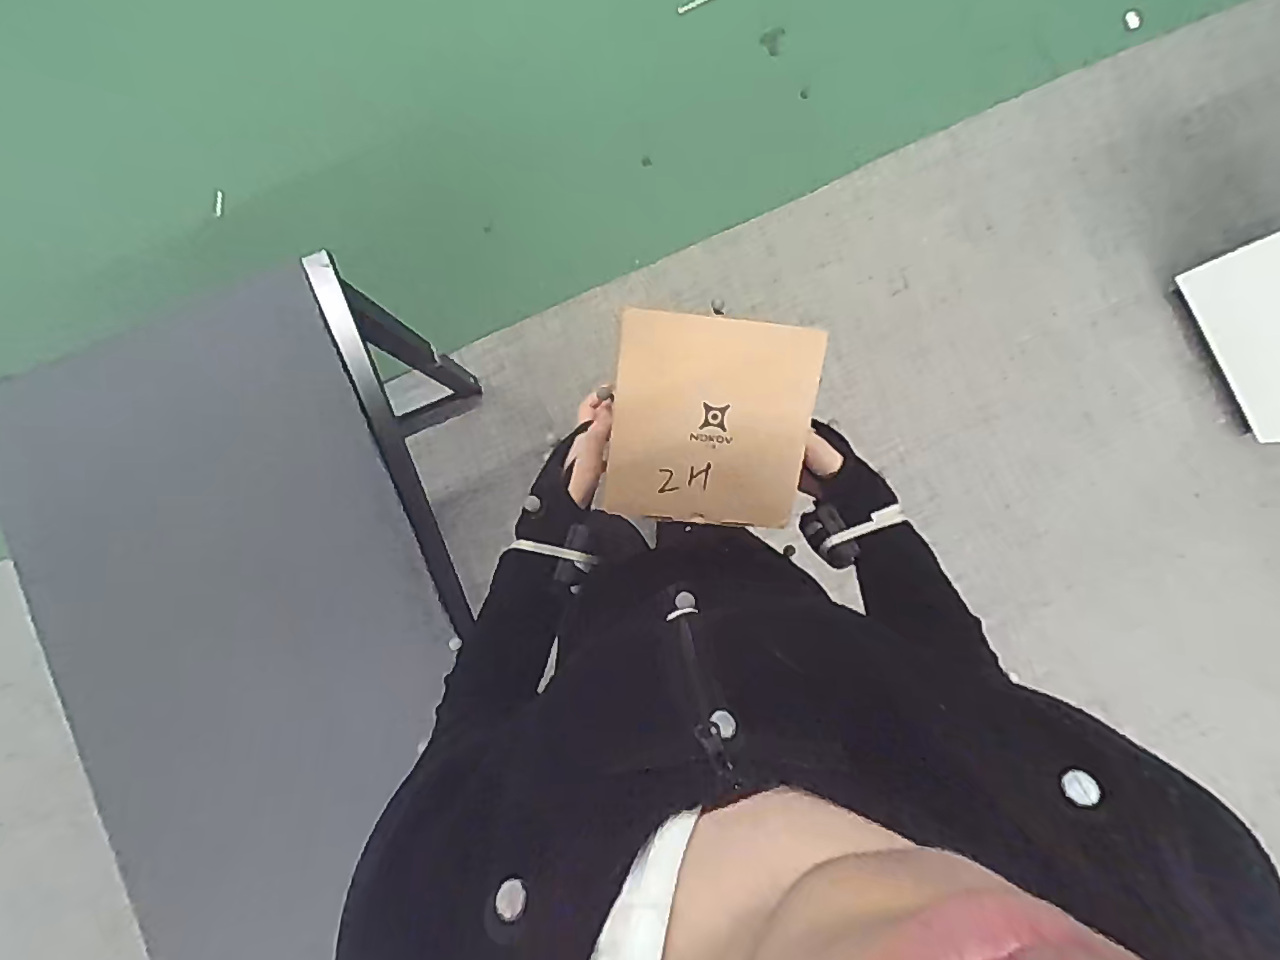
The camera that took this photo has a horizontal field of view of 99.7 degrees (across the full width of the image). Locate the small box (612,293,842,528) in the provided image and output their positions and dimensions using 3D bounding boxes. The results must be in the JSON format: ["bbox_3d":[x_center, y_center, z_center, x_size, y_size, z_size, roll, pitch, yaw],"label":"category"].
[{"bbox_3d":[0.063,-0.072,0.509,0.168,0.176,0.179,6,107,-4],"label":"small box"}]
